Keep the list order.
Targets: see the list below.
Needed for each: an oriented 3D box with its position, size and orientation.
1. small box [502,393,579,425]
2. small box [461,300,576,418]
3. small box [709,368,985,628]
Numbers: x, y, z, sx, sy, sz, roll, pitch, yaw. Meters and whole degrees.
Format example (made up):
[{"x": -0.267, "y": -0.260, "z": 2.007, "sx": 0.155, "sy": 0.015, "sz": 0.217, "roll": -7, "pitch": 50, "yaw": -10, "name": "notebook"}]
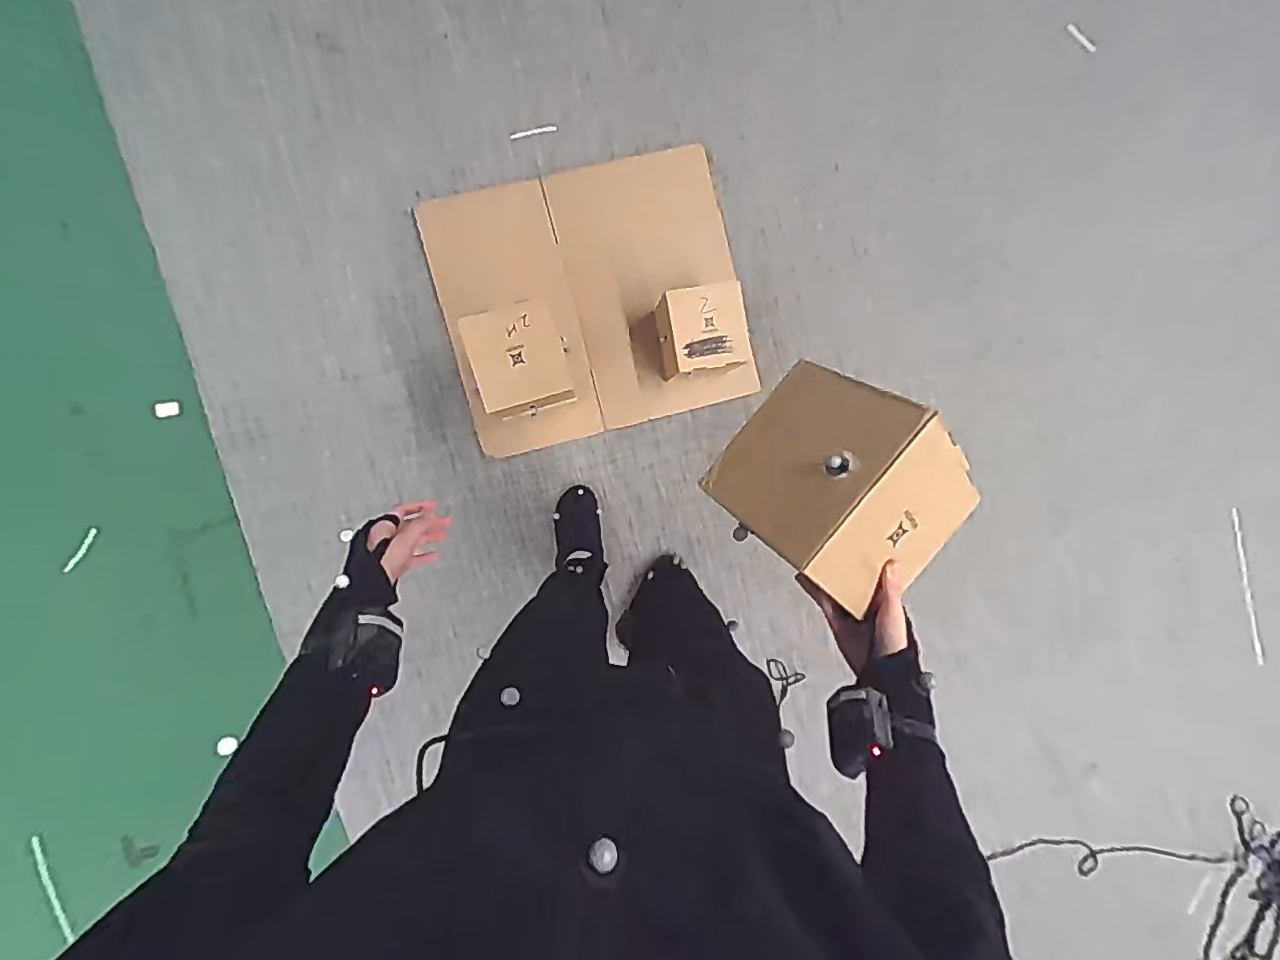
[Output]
[{"x": -0.236, "y": -0.225, "z": 1.198, "sx": 0.168, "sy": 0.176, "sz": 0.179, "roll": -17, "pitch": 94, "yaw": -5, "name": "small box"}, {"x": -0.222, "y": -0.220, "z": 1.034, "sx": 0.168, "sy": 0.176, "sz": 0.179, "roll": -16, "pitch": 94, "yaw": -6, "name": "small box"}, {"x": 0.205, "y": 0.012, "z": 0.555, "sx": 0.179, "sy": 0.176, "sz": 0.168, "roll": -50, "pitch": 129, "yaw": 2, "name": "small box"}]
